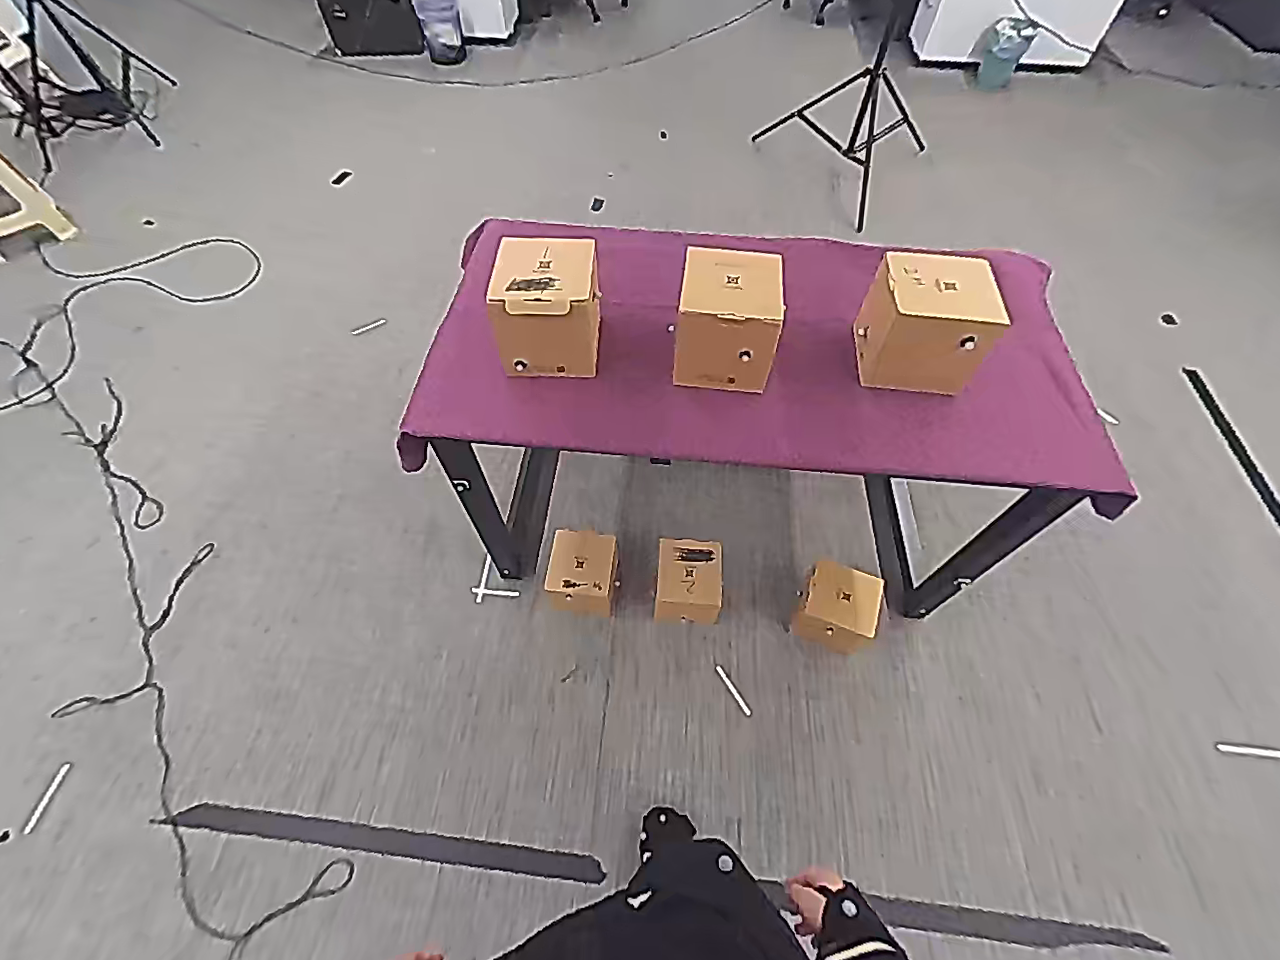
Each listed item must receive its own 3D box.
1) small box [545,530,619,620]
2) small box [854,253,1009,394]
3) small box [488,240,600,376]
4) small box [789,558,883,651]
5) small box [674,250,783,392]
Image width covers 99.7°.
[{"bbox_3d":[-0.152,0.261,1.474,0.168,0.176,0.179,7,56,4],"label":"small box"},{"bbox_3d":[0.500,-0.271,0.955,0.179,0.176,0.168,6,57,4],"label":"small box"},{"bbox_3d":[-0.159,-0.302,0.965,0.168,0.176,0.179,1,56,-1],"label":"small box"},{"bbox_3d":[0.516,0.337,1.434,0.179,0.176,0.168,19,60,13],"label":"small box"},{"bbox_3d":[0.151,-0.277,0.956,0.168,0.176,0.179,6,55,2],"label":"small box"}]
